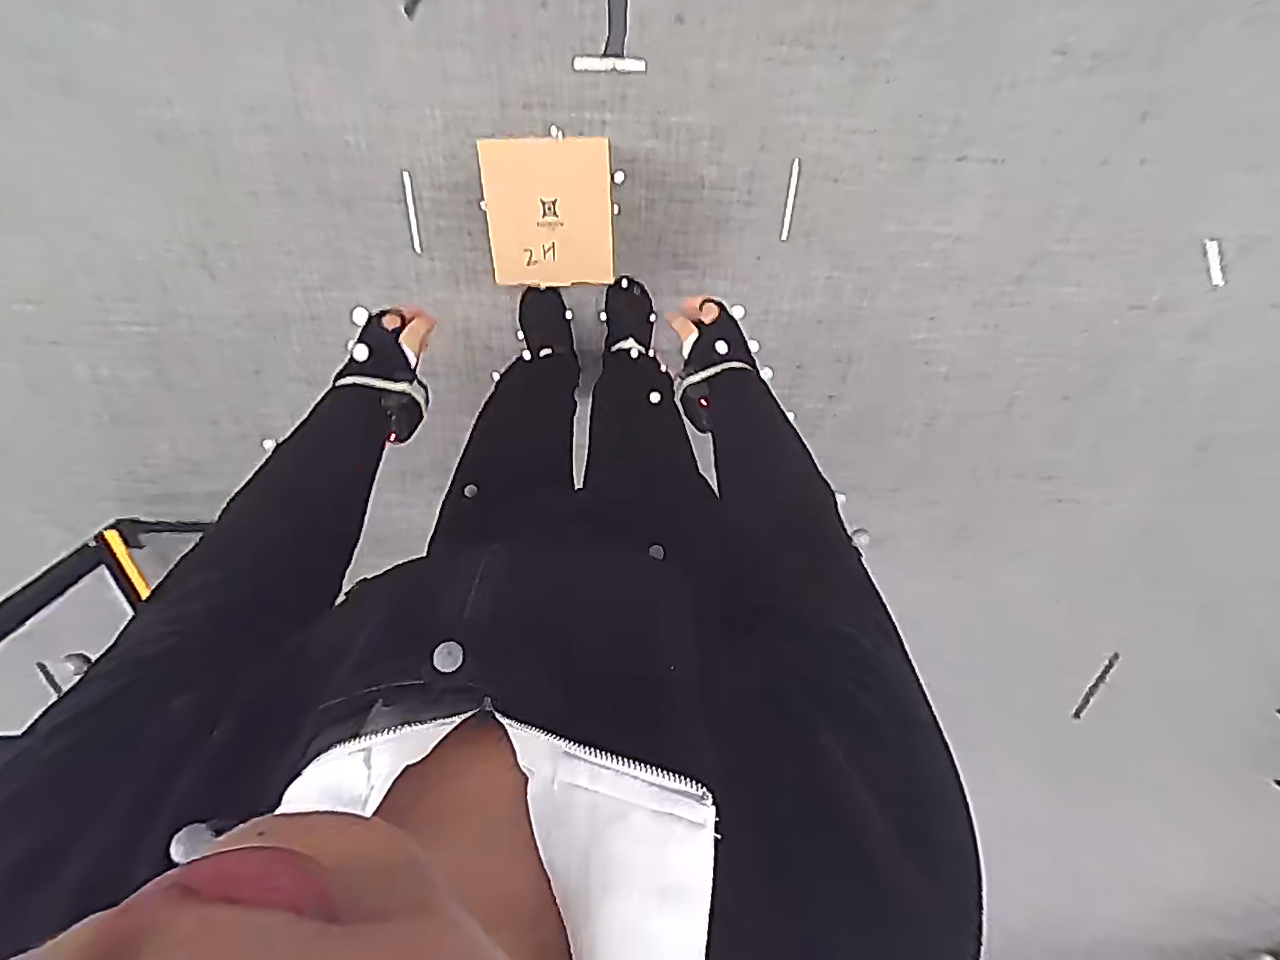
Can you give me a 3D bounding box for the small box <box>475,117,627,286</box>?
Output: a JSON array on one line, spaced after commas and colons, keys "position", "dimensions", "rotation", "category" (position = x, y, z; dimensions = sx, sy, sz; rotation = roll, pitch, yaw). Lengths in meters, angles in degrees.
[{"position": [-0.101, -0.358, 0.698], "dimensions": [0.168, 0.176, 0.179], "rotation": [-1, 121, -1], "category": "small box"}]
